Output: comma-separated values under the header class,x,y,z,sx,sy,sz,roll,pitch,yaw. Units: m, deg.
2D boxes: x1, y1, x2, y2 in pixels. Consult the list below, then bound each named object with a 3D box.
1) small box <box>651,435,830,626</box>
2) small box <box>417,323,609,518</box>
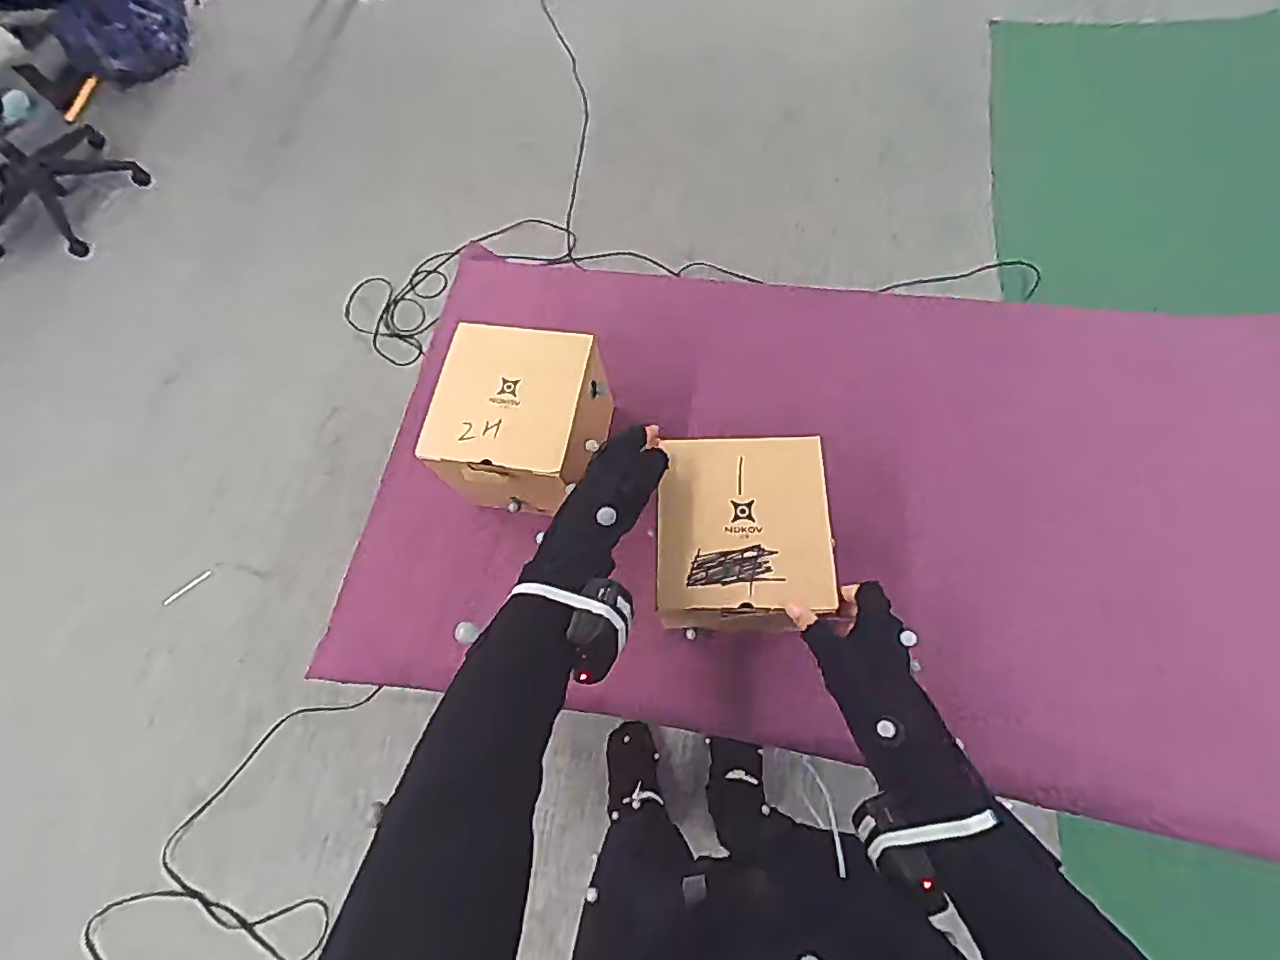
class,x,y,z,sx,sy,sz,roll,pitch,yaw
small box,0.103,0.065,0.598,0.168,0.176,0.179,-1,69,6
small box,-0.140,-0.067,0.674,0.168,0.176,0.179,7,71,9
